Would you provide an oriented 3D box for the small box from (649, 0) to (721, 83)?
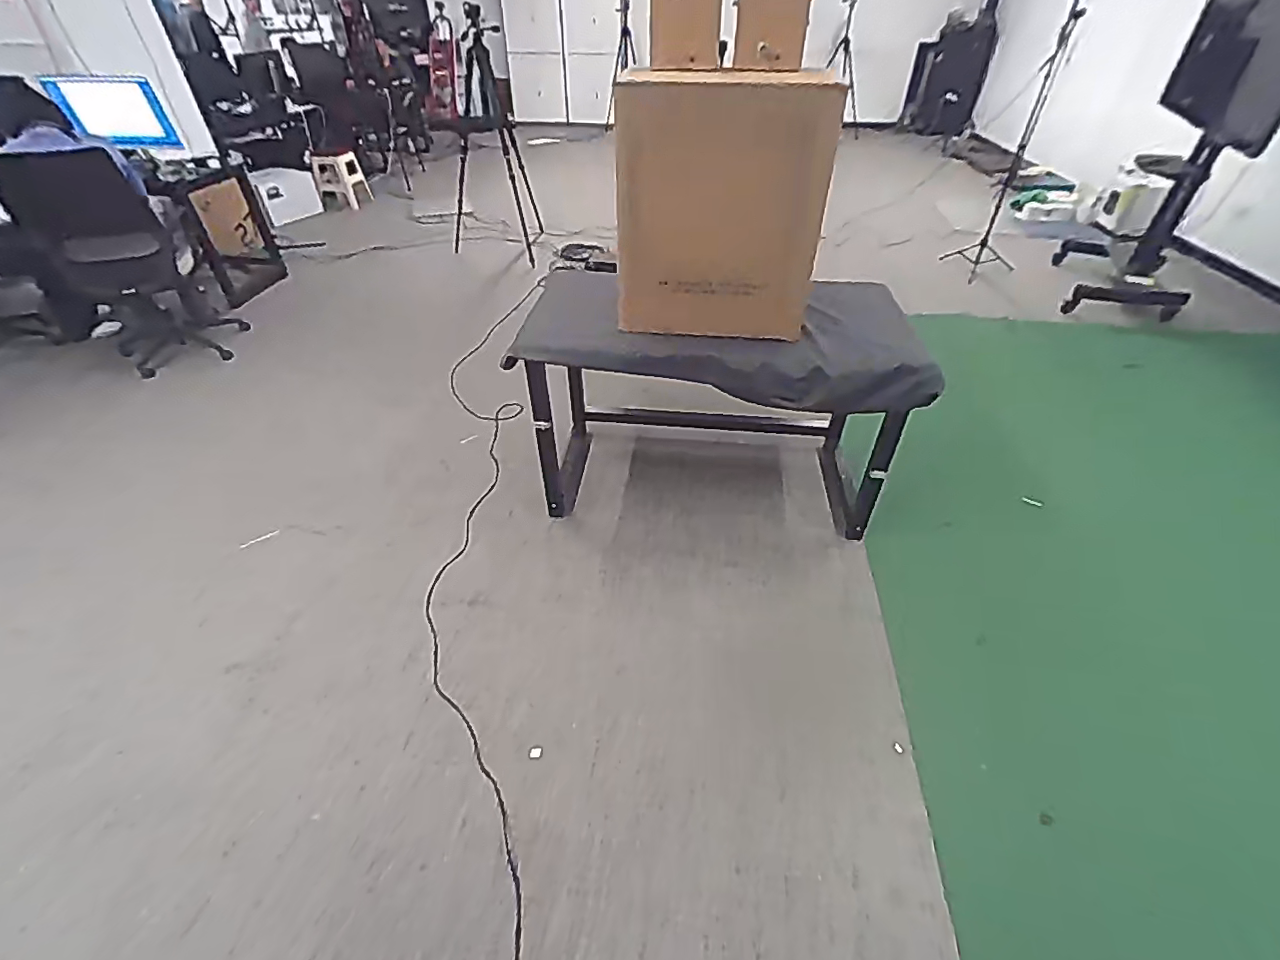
[{"bbox_3d":[0.111,-1.098,1.346,0.168,0.176,0.179,3,39,7],"label":"small box"}]
